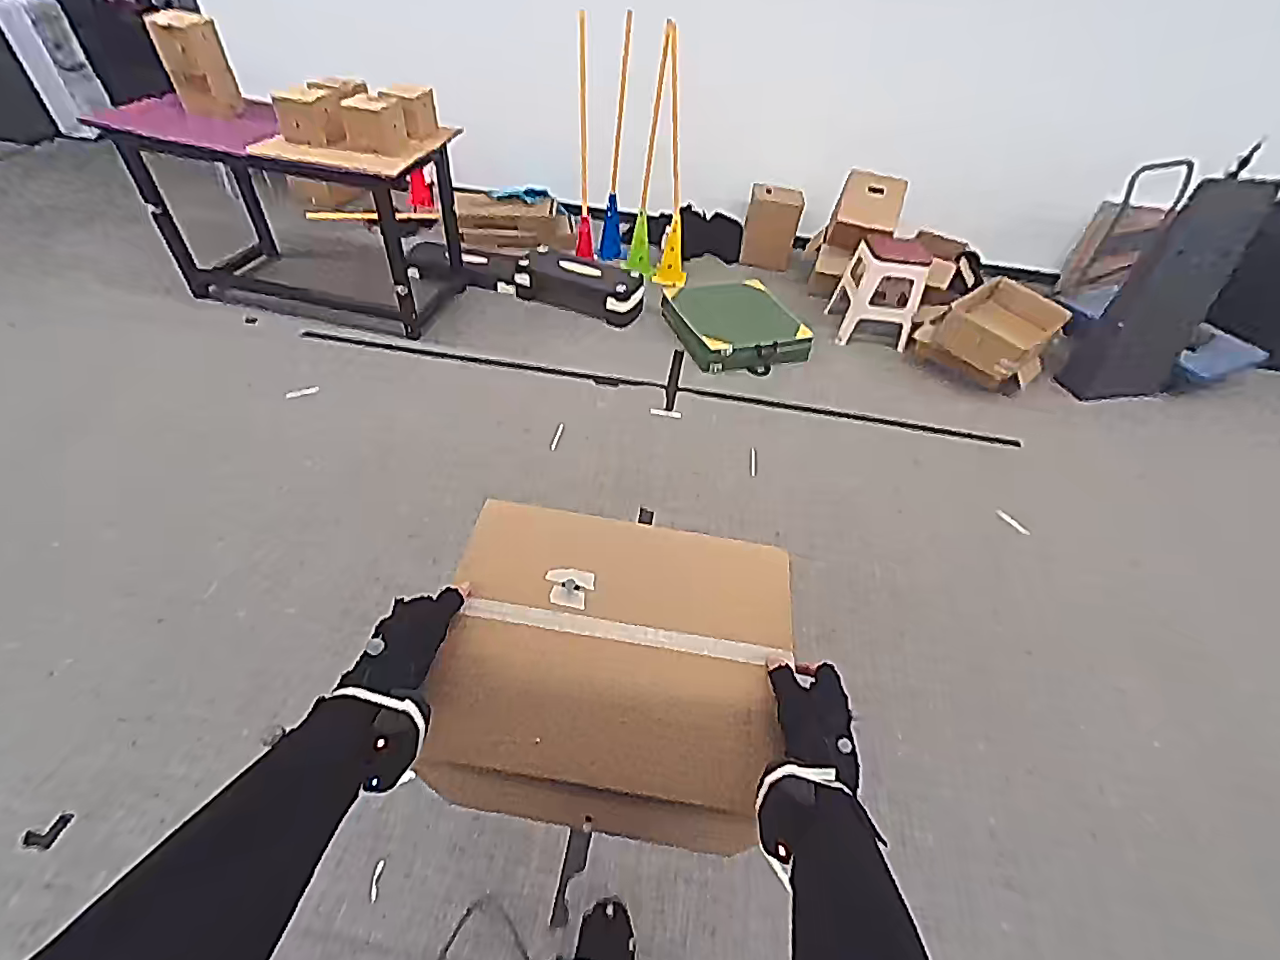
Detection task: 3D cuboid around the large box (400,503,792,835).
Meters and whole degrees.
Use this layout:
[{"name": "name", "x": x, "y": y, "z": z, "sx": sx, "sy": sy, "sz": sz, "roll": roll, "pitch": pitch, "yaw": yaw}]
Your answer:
[{"name": "large box", "x": -0.037, "y": 0.268, "z": 0.746, "sx": 0.408, "sy": 0.320, "sz": 0.320, "roll": 9, "pitch": 50, "yaw": 1}]
